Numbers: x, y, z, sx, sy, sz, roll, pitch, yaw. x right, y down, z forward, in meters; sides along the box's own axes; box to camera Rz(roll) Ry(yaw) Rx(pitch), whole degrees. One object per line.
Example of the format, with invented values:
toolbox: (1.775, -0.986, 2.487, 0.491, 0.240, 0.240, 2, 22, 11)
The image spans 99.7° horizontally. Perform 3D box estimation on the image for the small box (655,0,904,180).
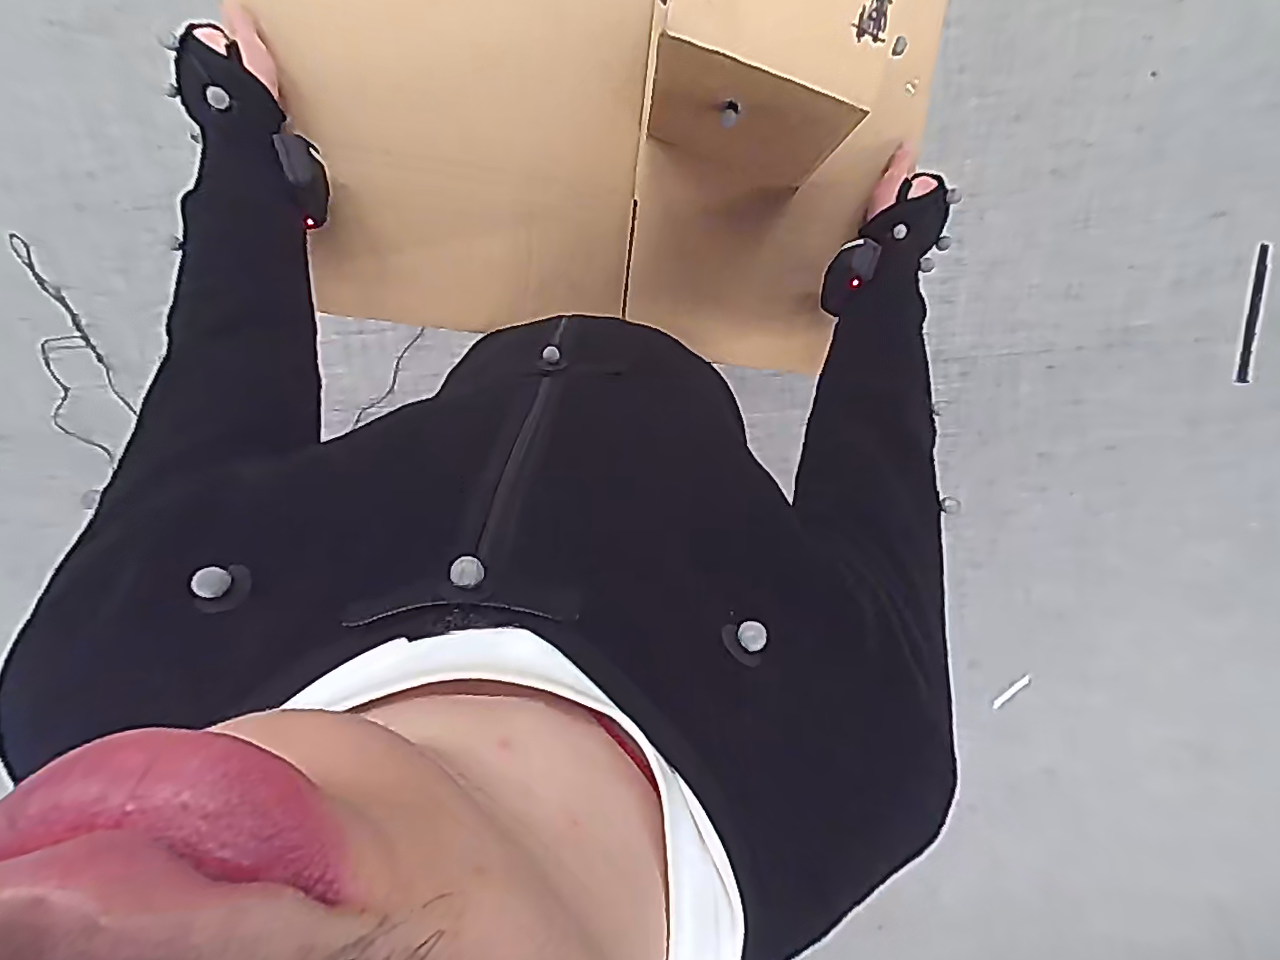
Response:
small box: (0.119, -0.404, 0.489, 0.179, 0.176, 0.168, 17, 99, -5)
